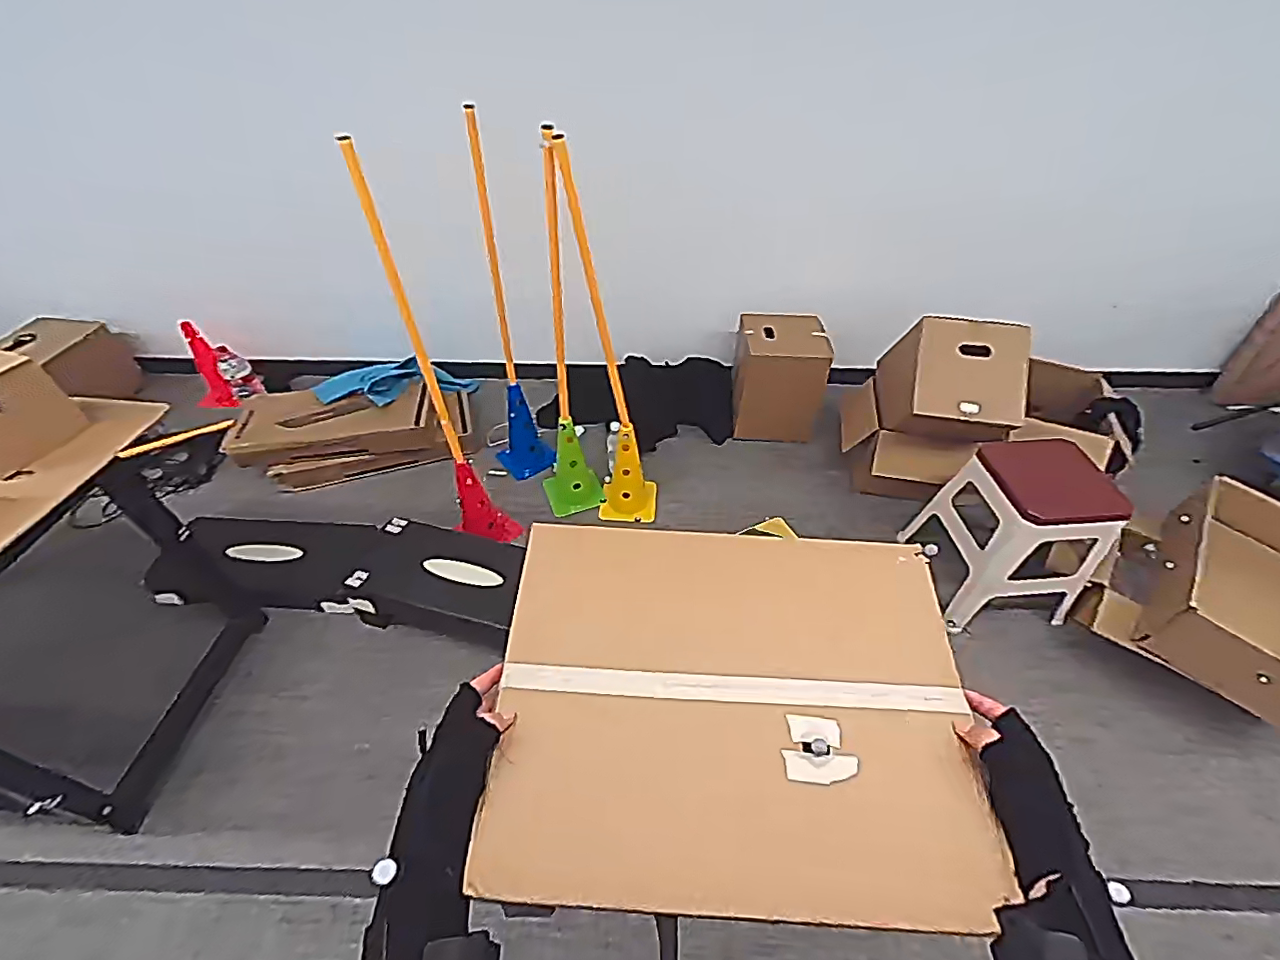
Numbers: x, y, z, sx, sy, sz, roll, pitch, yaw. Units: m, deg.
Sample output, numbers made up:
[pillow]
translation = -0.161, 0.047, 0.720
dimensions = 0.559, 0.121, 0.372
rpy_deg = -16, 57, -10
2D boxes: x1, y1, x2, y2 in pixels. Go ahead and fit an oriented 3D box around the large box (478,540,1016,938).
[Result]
[large box]
translation = 0.079, 0.283, 0.599
dimensions = 0.408, 0.320, 0.320
rpy_deg = 3, 55, 1
